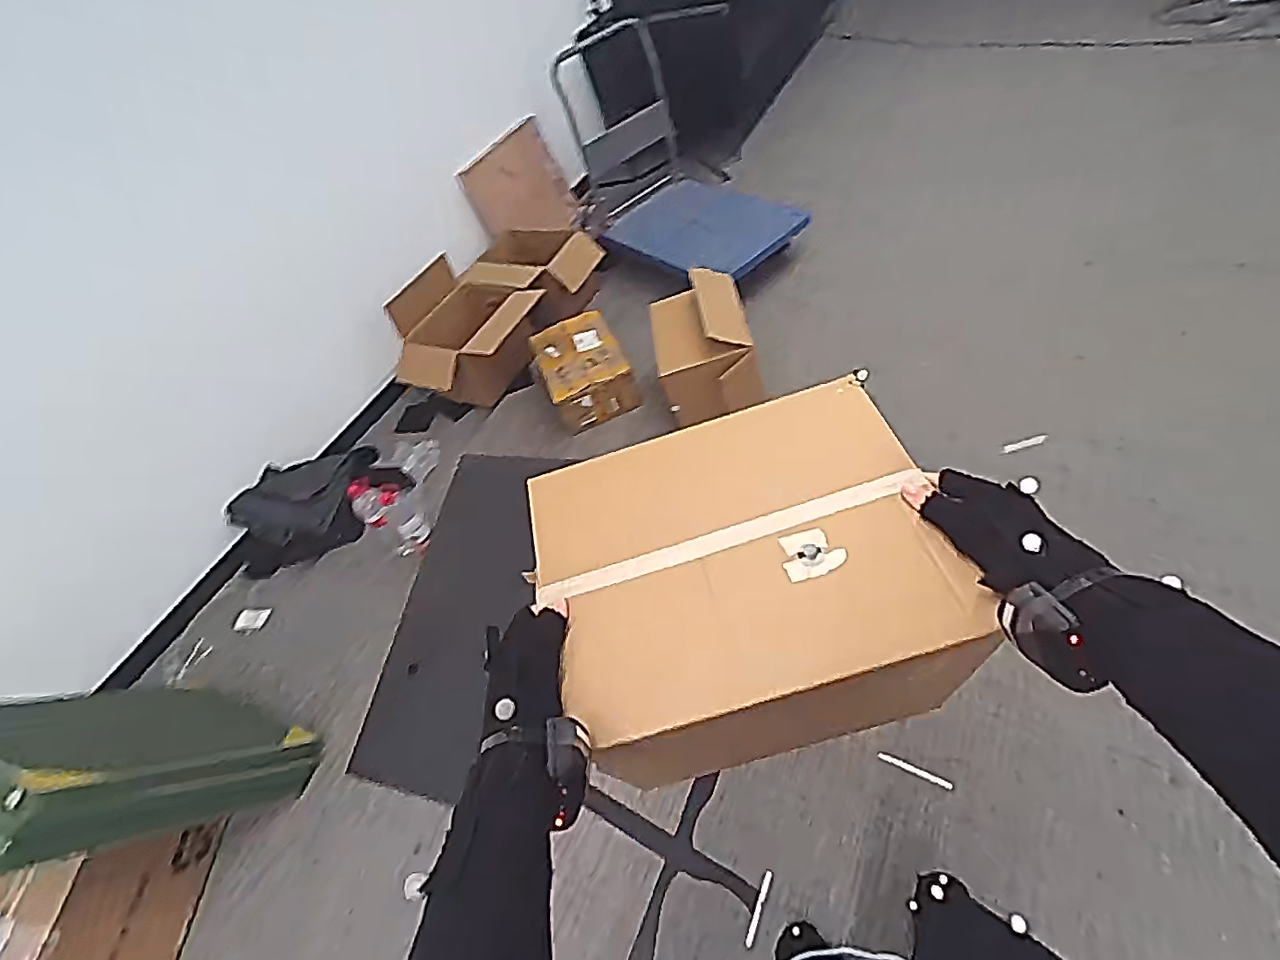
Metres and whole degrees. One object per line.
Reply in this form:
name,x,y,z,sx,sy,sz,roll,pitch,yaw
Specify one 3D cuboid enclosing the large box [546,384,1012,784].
large box,0.135,0.146,0.681,0.408,0.320,0.320,-17,54,3
